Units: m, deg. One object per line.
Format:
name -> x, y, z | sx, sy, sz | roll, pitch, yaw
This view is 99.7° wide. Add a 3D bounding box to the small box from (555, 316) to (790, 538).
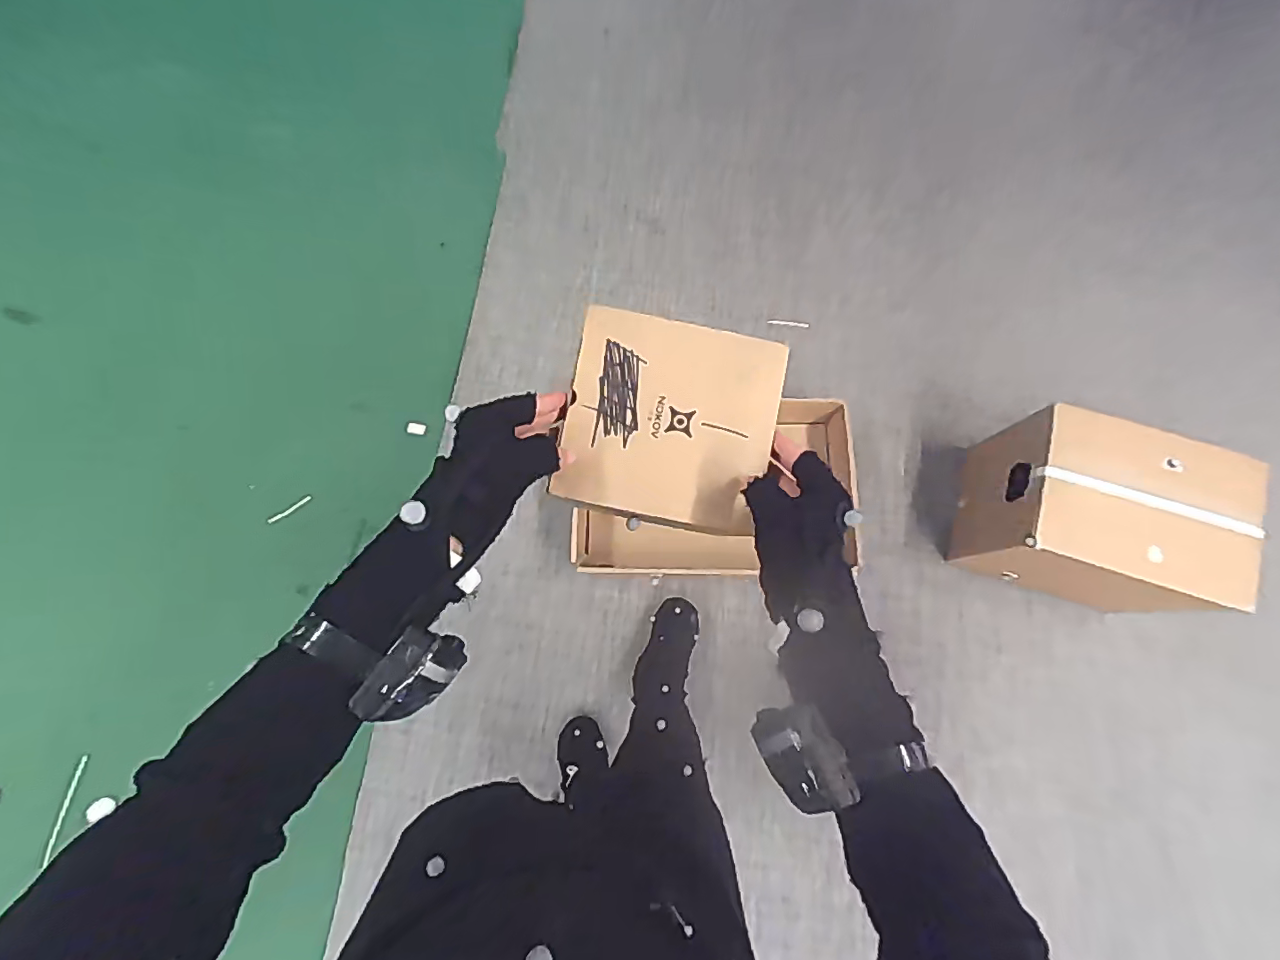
small box -> 0.027, -0.037, 0.534 | 0.179, 0.176, 0.168 | 11, 84, -1
